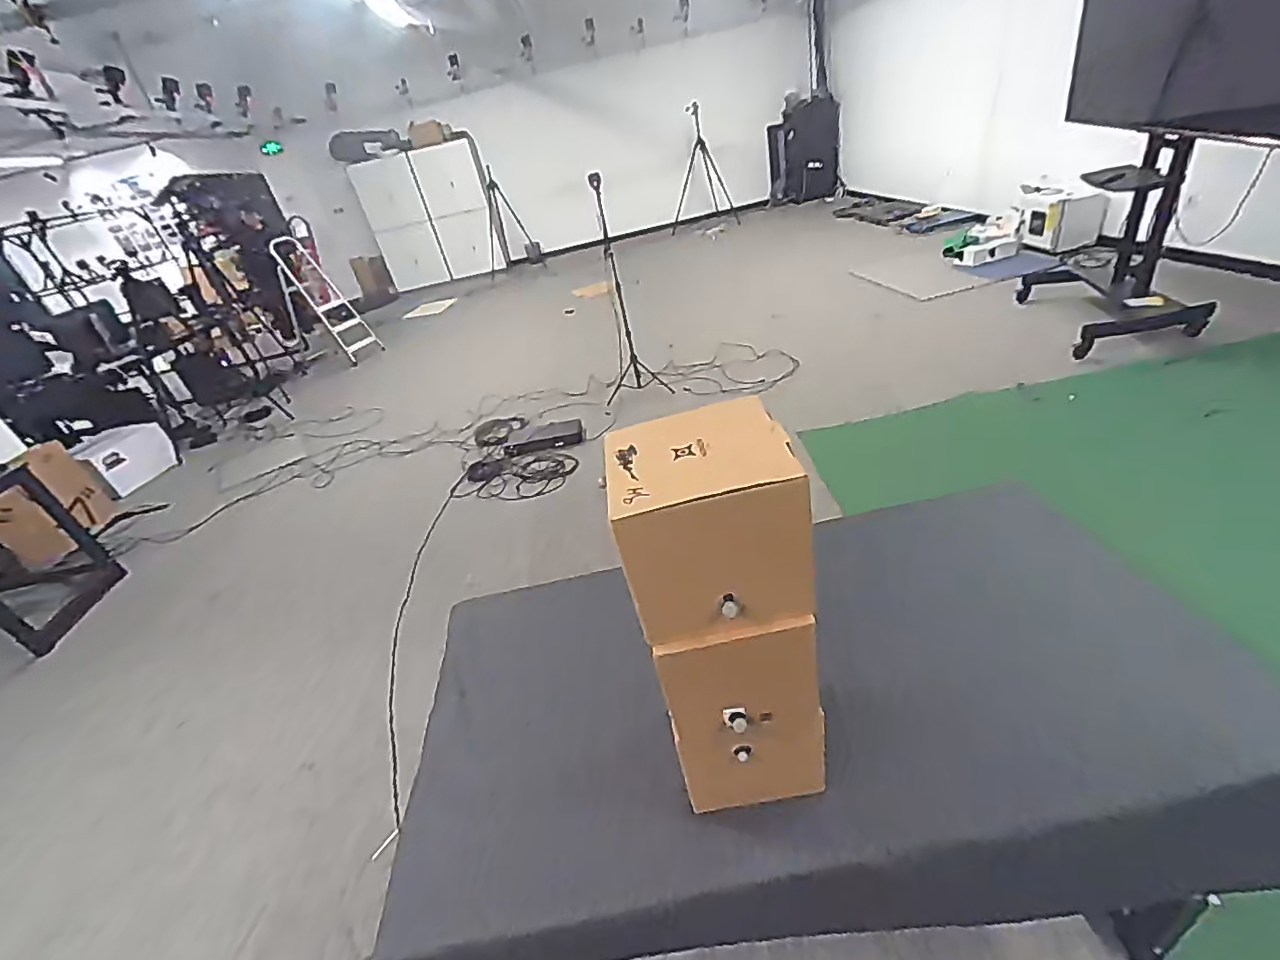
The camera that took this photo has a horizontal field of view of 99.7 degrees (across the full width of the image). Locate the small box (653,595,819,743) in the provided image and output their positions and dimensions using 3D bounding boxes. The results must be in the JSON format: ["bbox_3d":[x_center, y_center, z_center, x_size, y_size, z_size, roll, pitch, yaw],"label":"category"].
[{"bbox_3d":[0.105,0.178,0.649,0.168,0.176,0.179,-14,33,4],"label":"small box"}]

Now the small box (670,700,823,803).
[{"bbox_3d":[0.138,0.310,0.736,0.179,0.176,0.168,-11,32,4],"label":"small box"}]

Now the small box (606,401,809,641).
[{"bbox_3d":[0.068,0.042,0.567,0.179,0.176,0.168,-12,32,4],"label":"small box"}]
